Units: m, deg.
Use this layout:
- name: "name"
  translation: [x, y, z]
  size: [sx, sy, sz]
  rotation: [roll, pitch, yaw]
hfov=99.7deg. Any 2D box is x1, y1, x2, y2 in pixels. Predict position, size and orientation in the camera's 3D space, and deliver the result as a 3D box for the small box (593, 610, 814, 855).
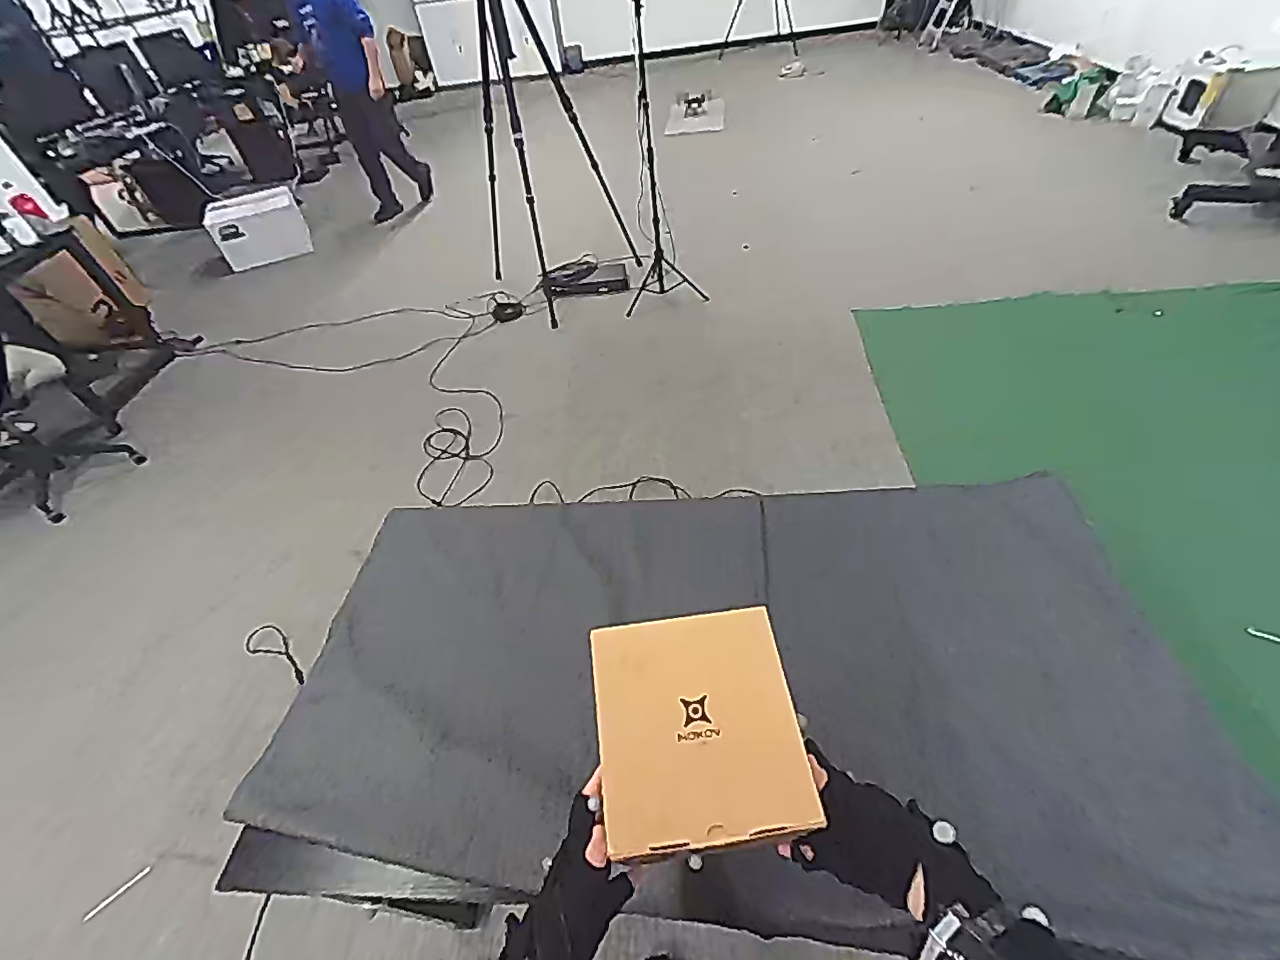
- name: "small box"
  translation: [0.044, 0.246, 0.522]
  size: [0.168, 0.176, 0.179]
  rotation: [-6, 55, -3]
